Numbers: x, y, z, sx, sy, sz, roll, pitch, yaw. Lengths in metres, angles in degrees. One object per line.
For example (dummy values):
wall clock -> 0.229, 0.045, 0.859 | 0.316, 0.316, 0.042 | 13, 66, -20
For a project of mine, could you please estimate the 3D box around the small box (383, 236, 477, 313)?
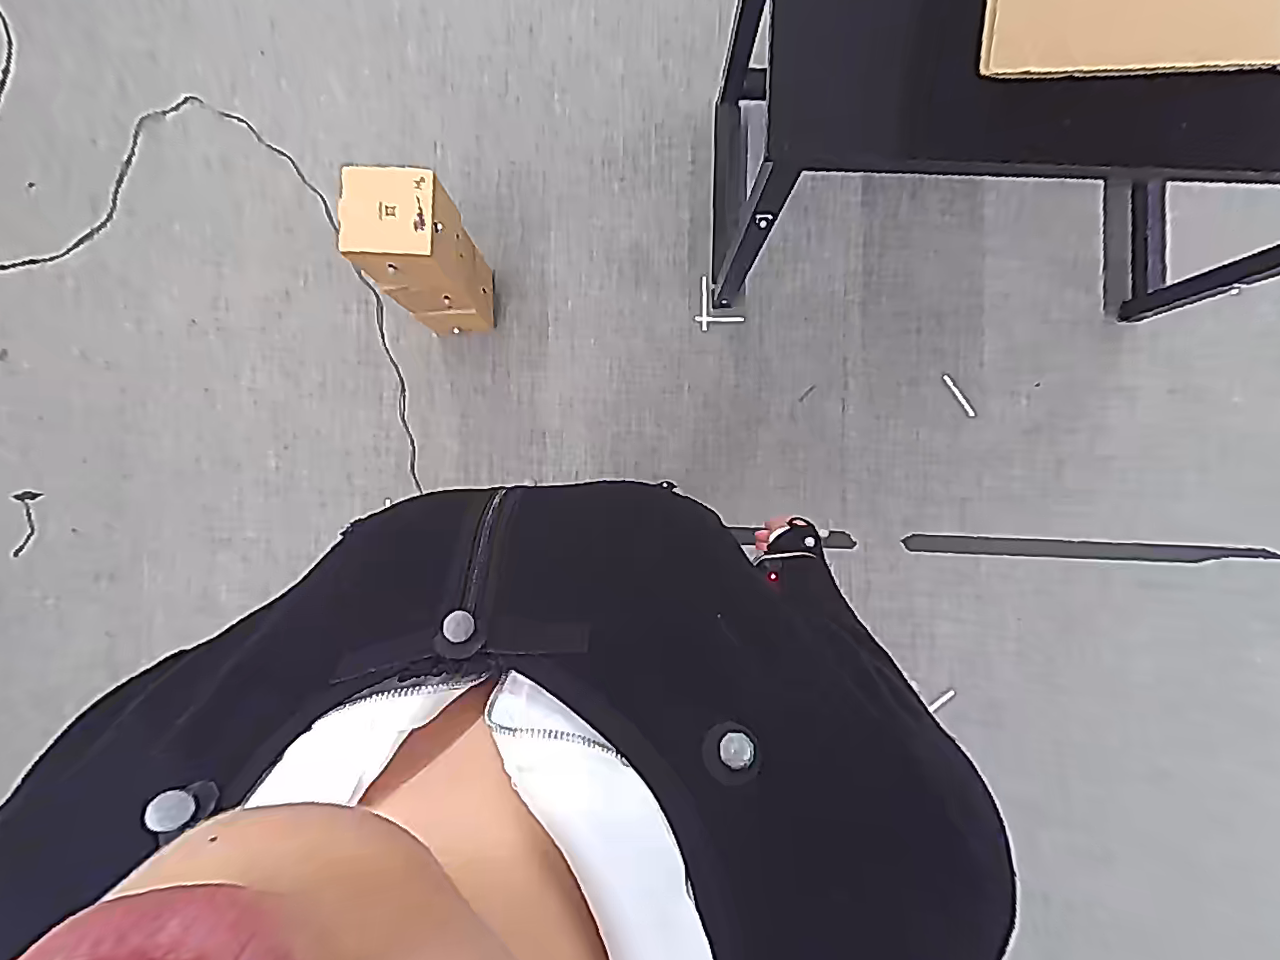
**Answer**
small box -> -0.490, -0.502, 1.267 | 0.168, 0.176, 0.179 | -6, 88, -1

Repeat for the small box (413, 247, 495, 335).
small box -> -0.487, -0.493, 1.428 | 0.168, 0.176, 0.179 | -2, 90, 0

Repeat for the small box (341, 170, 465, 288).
small box -> -0.475, -0.502, 1.103 | 0.179, 0.176, 0.168 | 2, 89, 0
